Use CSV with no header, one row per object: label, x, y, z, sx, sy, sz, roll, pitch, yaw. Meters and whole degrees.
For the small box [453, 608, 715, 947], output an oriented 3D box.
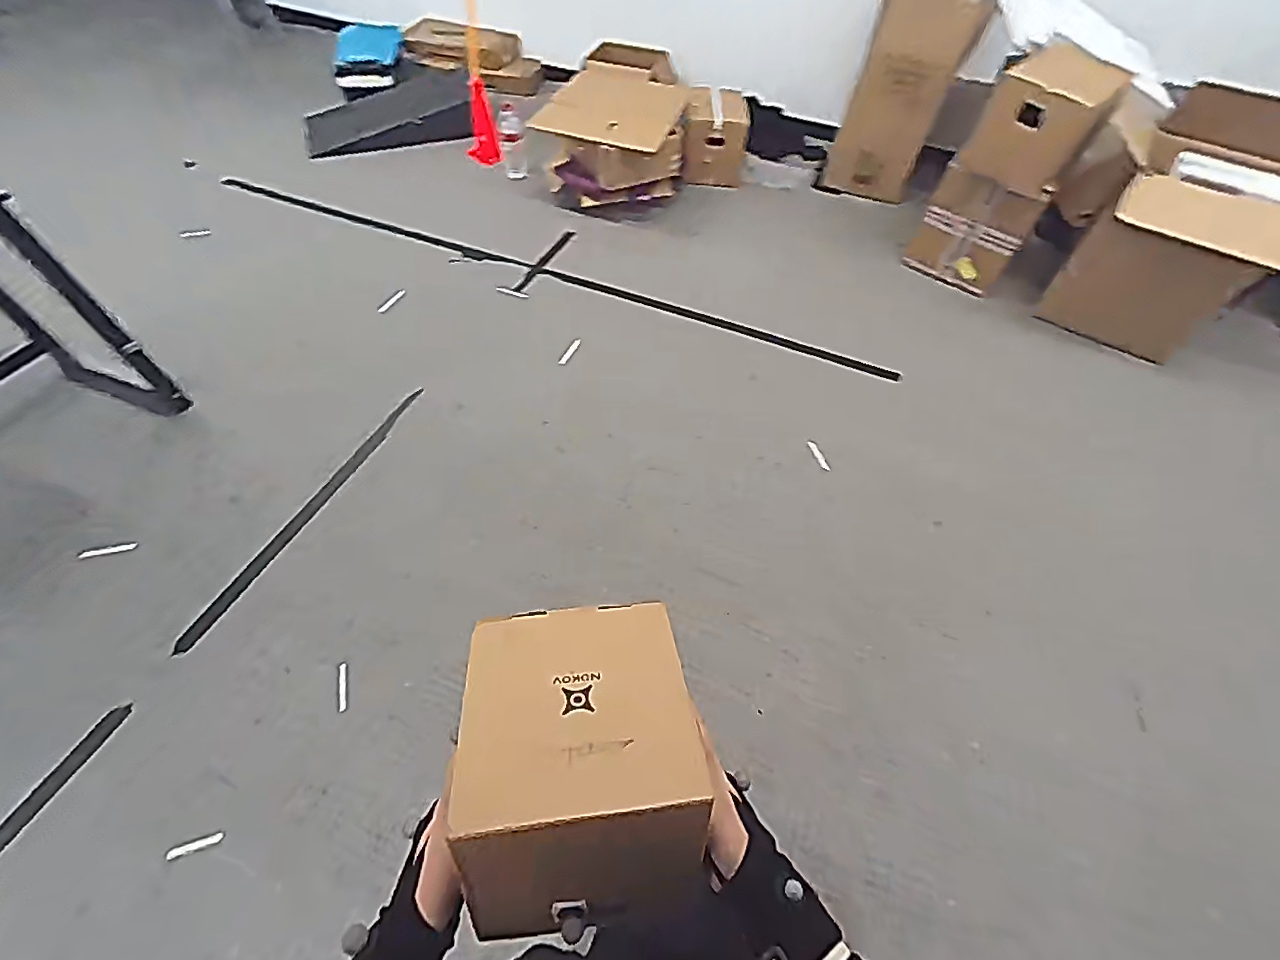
small box,-0.048,0.233,0.445,0.168,0.176,0.179,-4,33,-9
